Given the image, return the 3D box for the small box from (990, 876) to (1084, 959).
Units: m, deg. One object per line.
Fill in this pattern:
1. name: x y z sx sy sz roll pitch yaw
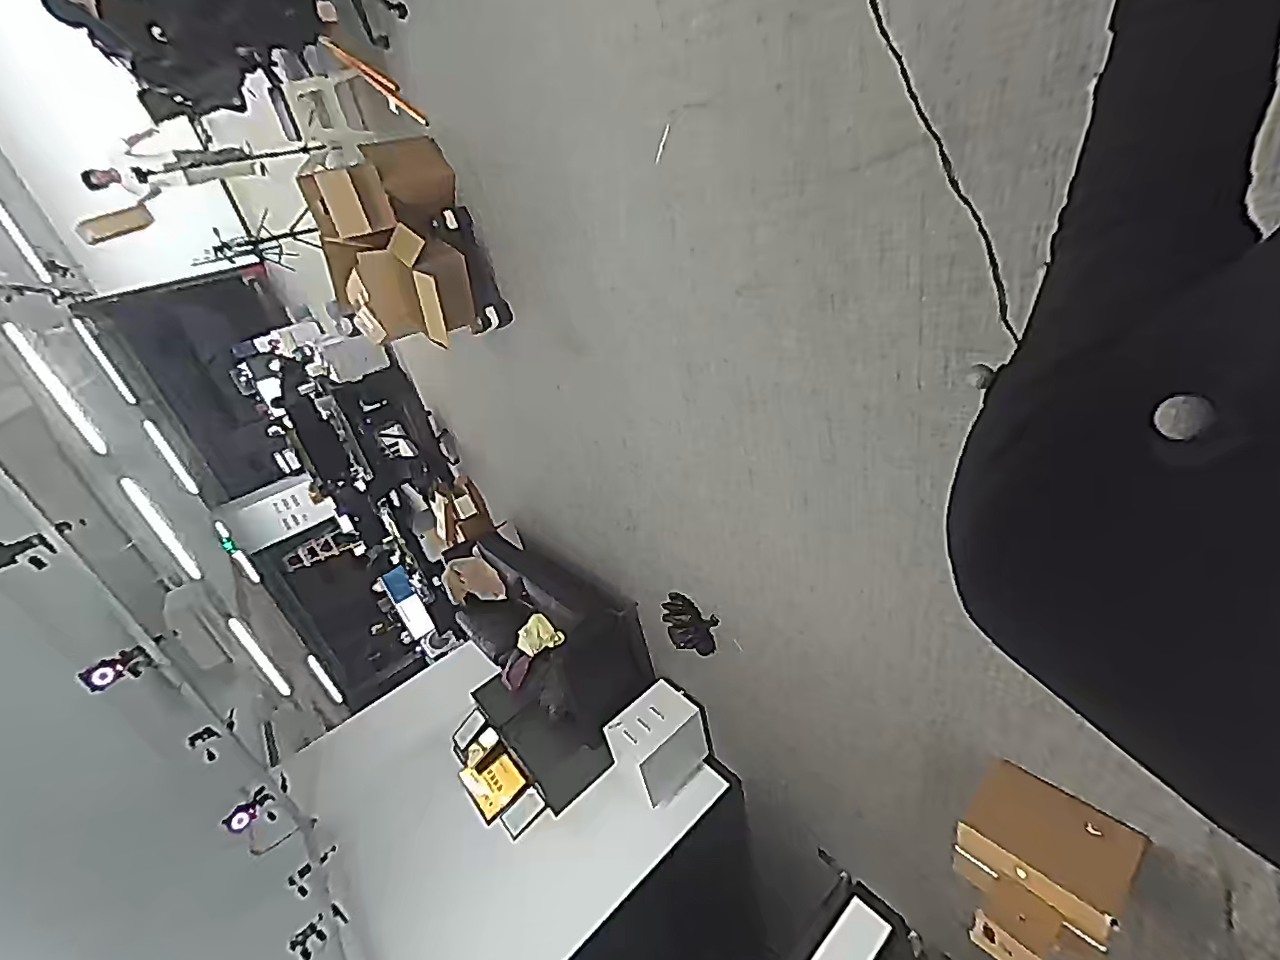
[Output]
1. small box: 1.199 1.353 1.636 0.179 0.176 0.168 21 128 50
